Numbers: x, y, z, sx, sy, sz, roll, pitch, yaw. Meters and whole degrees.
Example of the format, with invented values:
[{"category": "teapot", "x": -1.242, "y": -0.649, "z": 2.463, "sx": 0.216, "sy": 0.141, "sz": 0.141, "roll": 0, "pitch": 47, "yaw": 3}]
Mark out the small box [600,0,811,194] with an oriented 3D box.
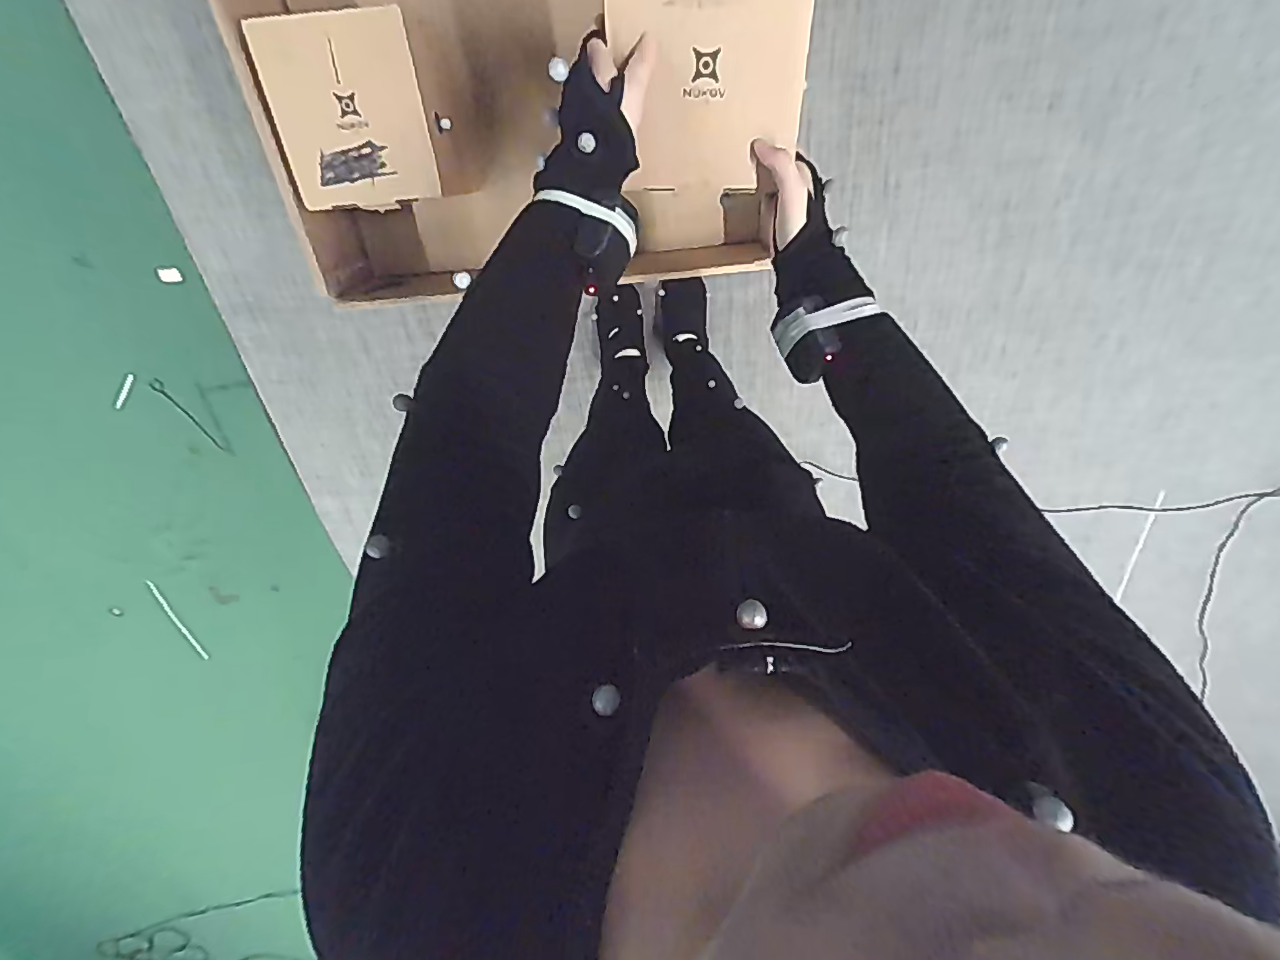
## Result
[{"category": "small box", "x": 0.050, "y": -0.374, "z": 0.509, "sx": 0.168, "sy": 0.176, "sz": 0.179, "roll": 1, "pitch": 120, "yaw": -1}]
